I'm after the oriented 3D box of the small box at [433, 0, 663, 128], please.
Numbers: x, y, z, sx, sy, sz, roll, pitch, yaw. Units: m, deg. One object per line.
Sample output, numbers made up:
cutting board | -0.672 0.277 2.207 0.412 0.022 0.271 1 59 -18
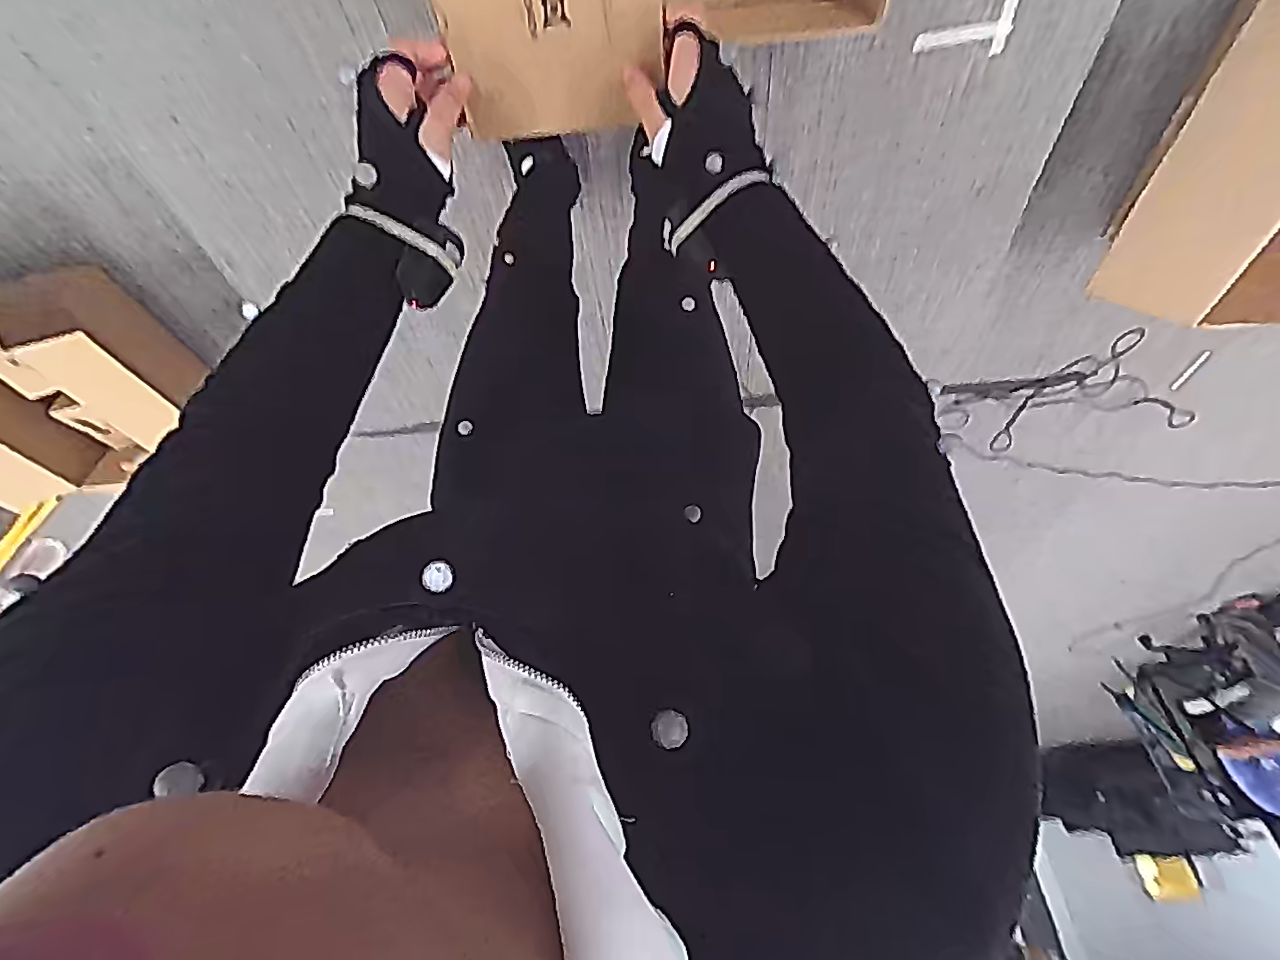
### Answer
small box | -0.076 -0.432 0.465 0.179 0.176 0.168 -7 140 2
